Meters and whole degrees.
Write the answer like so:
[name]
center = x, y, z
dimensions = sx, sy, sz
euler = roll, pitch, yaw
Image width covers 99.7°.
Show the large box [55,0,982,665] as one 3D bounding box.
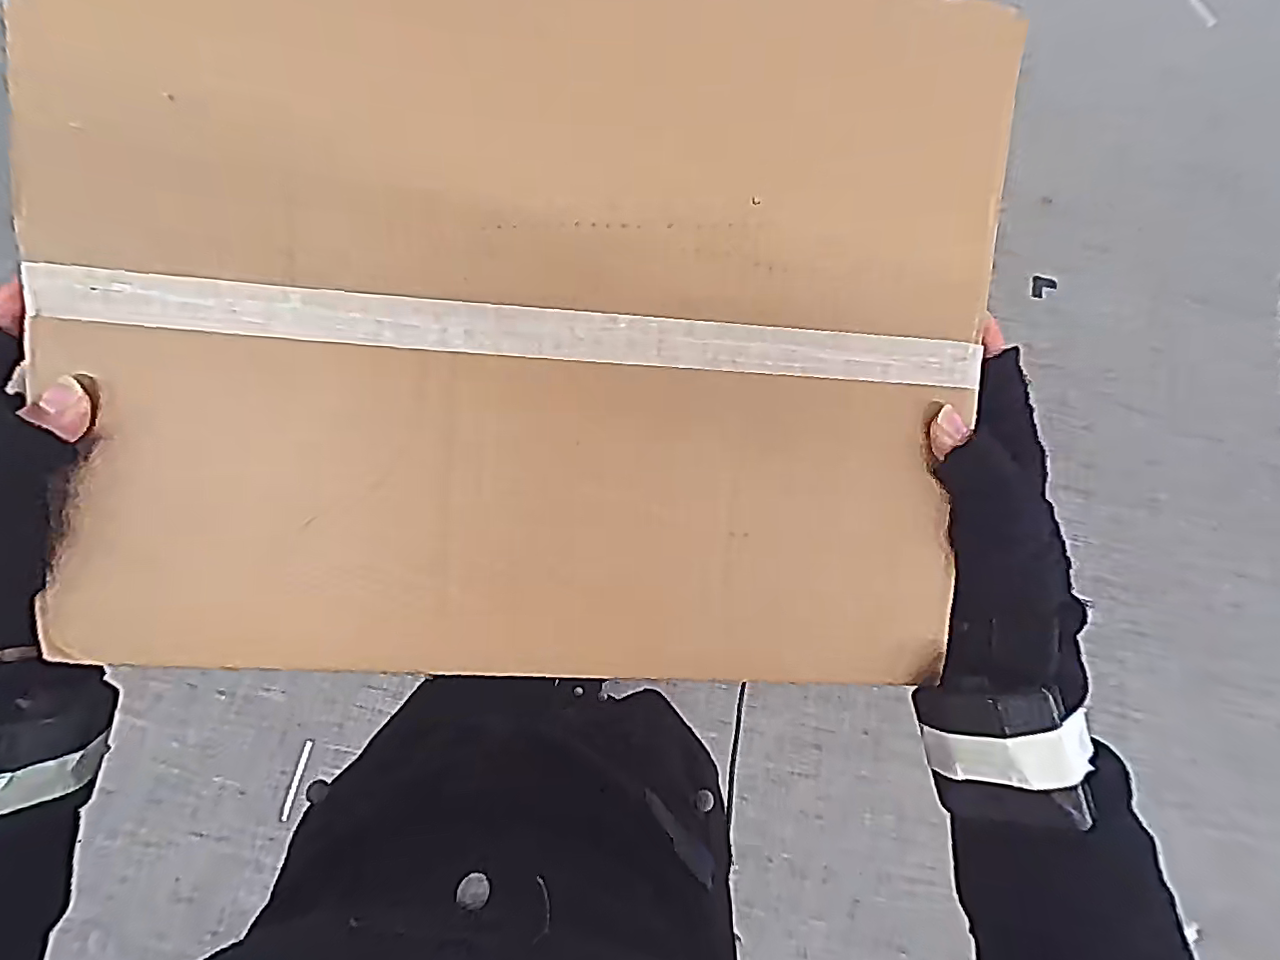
[large box]
center = -0.057, -0.081, 0.396
dimensions = 0.408, 0.320, 0.320
euler = 4, 95, -6
